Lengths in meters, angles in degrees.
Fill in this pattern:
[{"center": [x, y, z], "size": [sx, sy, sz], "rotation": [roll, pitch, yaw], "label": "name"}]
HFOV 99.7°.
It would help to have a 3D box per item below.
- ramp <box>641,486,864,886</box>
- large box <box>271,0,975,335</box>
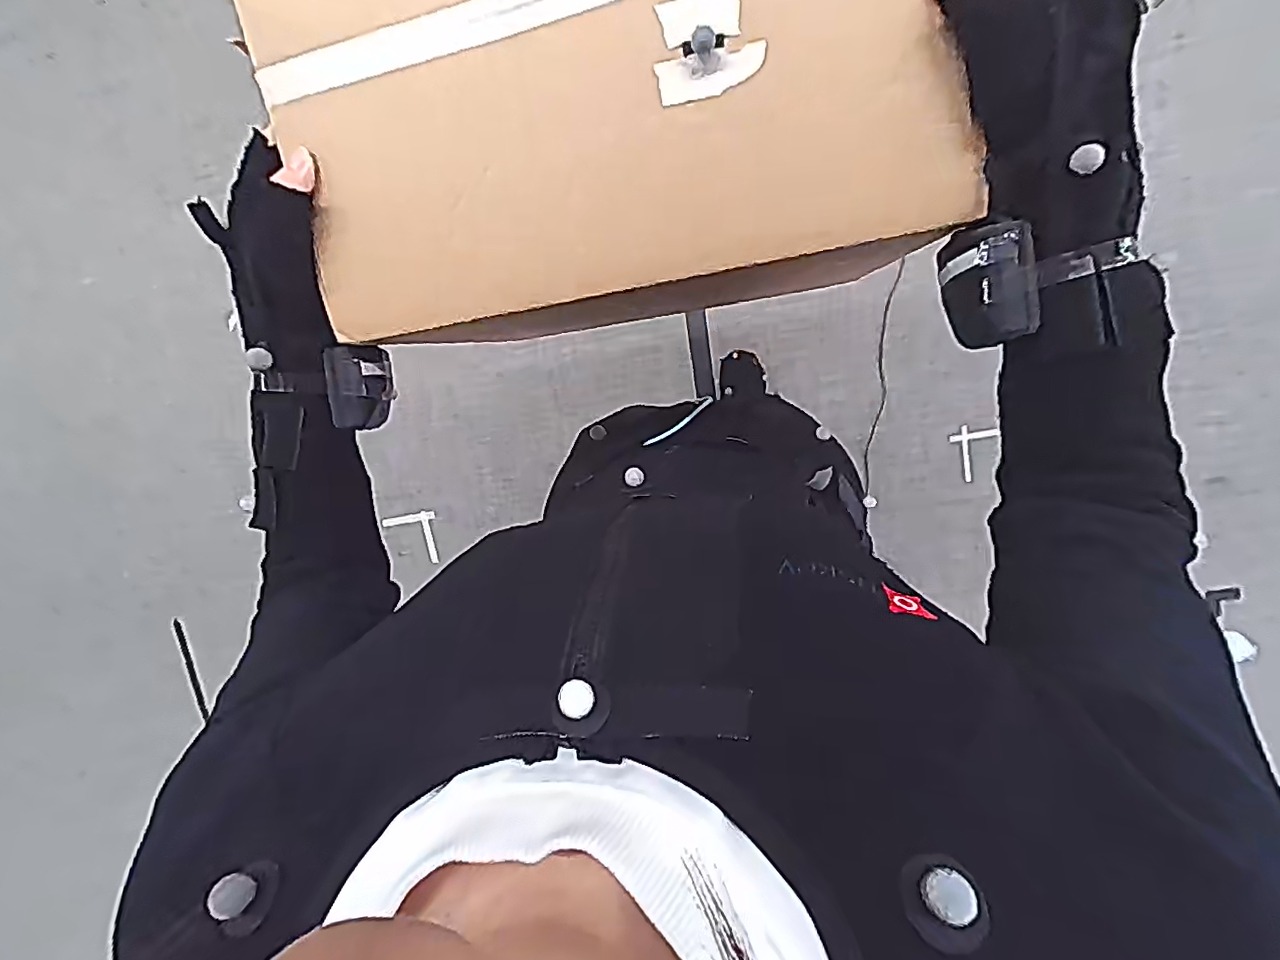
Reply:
[{"center": [0.275, 0.531, 1.410], "size": [0.509, 0.206, 0.991], "rotation": [-7, 97, 13], "label": "ramp"}, {"center": [-0.009, -0.315, 0.452], "size": [0.408, 0.320, 0.320], "rotation": [-8, 104, 11], "label": "large box"}]
